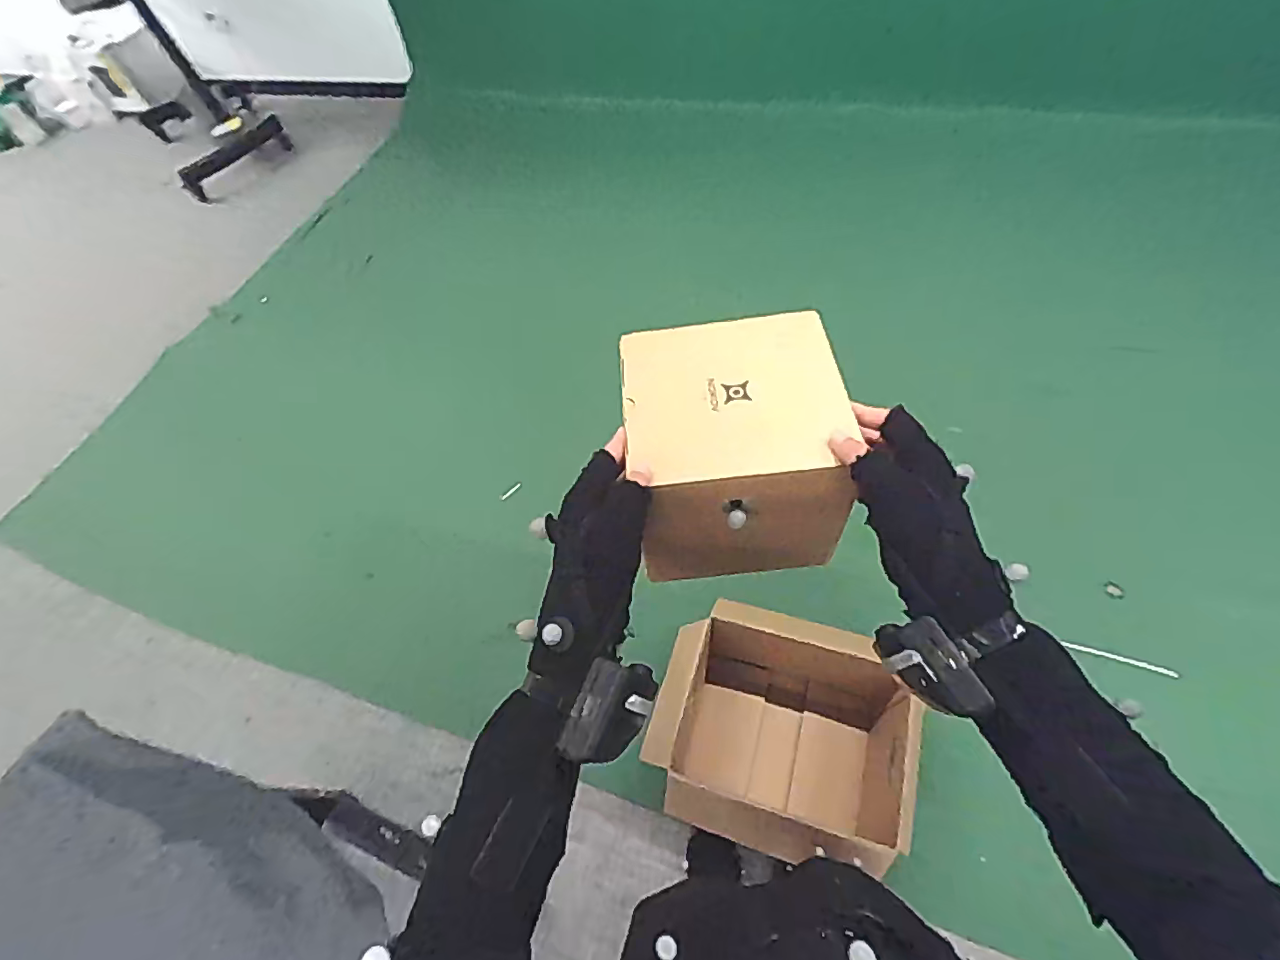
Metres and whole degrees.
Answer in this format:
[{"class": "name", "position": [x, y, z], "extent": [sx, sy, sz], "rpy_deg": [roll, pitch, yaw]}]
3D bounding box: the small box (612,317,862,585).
[{"class": "small box", "position": [0.075, -0.018, 0.490], "extent": [0.179, 0.176, 0.168], "rpy_deg": [-8, 55, 5]}]
